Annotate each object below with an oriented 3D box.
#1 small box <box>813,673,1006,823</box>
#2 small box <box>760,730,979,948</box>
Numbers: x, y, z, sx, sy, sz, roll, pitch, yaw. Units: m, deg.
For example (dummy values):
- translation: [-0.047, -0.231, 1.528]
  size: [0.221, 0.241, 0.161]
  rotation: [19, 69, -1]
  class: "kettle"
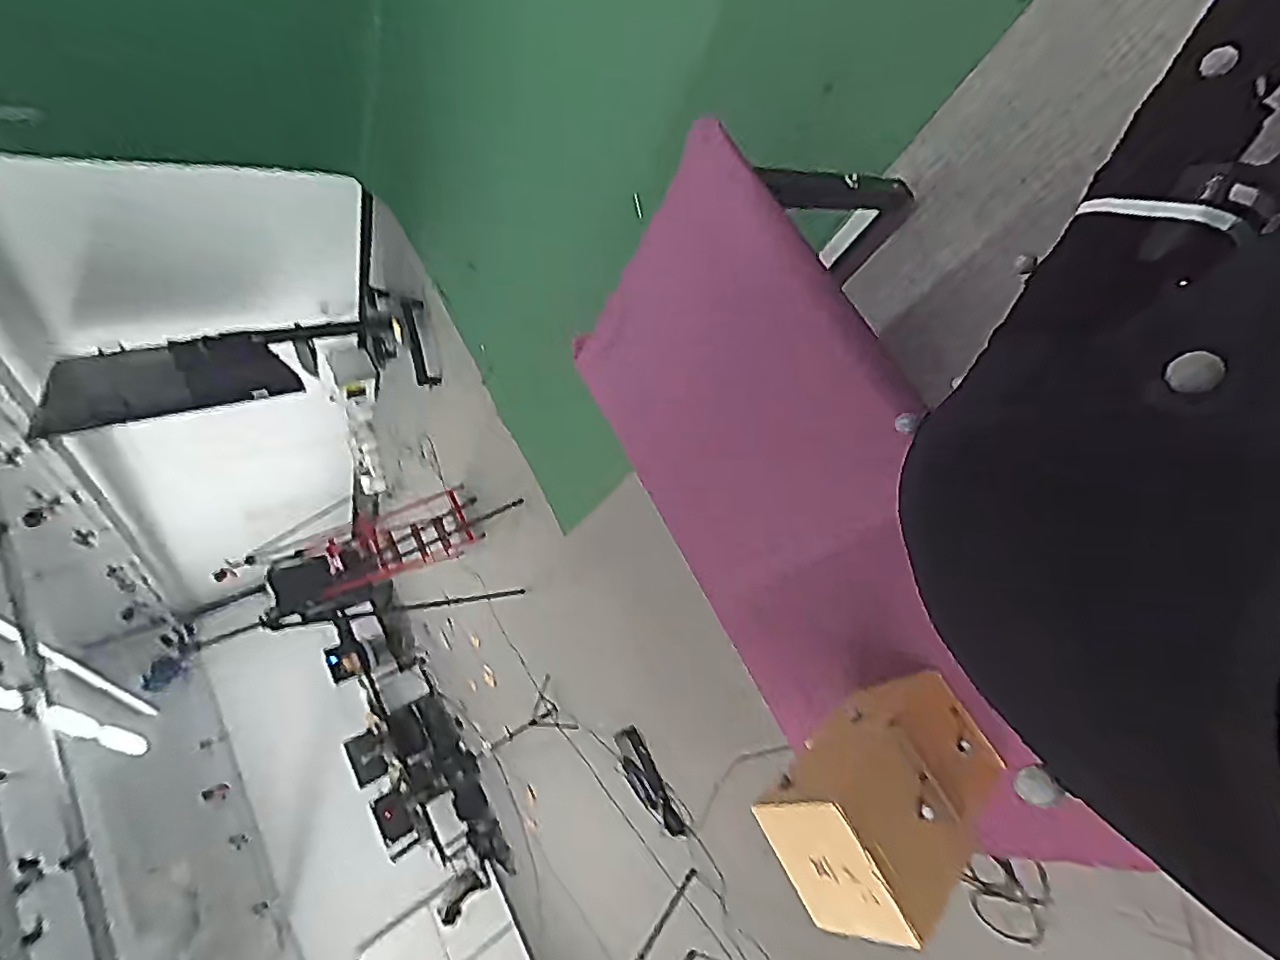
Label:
- translation: [0.417, 0.427, 0.840]
  size: [0.168, 0.176, 0.179]
  rotation: [58, 141, 16]
  class: "small box"
- translation: [0.304, 0.464, 0.723]
  size: [0.168, 0.176, 0.179]
  rotation: [58, 141, 14]
  class: "small box"
